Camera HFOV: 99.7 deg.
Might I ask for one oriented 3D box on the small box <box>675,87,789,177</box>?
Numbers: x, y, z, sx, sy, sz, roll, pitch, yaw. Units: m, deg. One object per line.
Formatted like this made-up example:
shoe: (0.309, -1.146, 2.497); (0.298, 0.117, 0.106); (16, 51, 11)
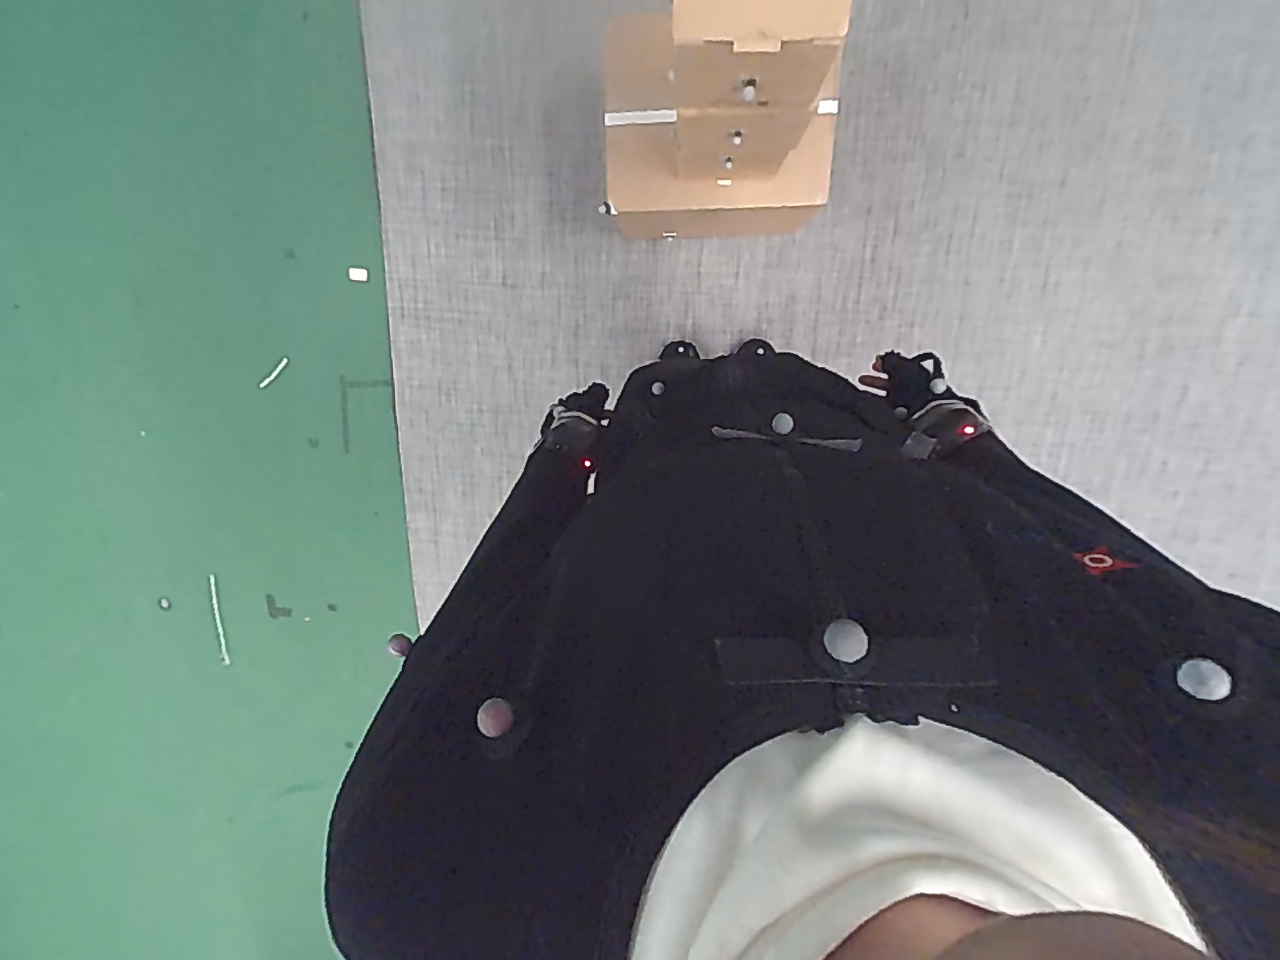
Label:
small box: (0.150, -0.604, 0.880); (0.179, 0.176, 0.168); (2, 107, 4)

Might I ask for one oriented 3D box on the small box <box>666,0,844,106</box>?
small box: (0.121, -0.518, 0.566); (0.168, 0.176, 0.179); (5, 107, 6)

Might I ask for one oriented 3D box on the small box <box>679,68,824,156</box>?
small box: (0.140, -0.553, 0.725); (0.179, 0.176, 0.168); (-1, 106, 6)
